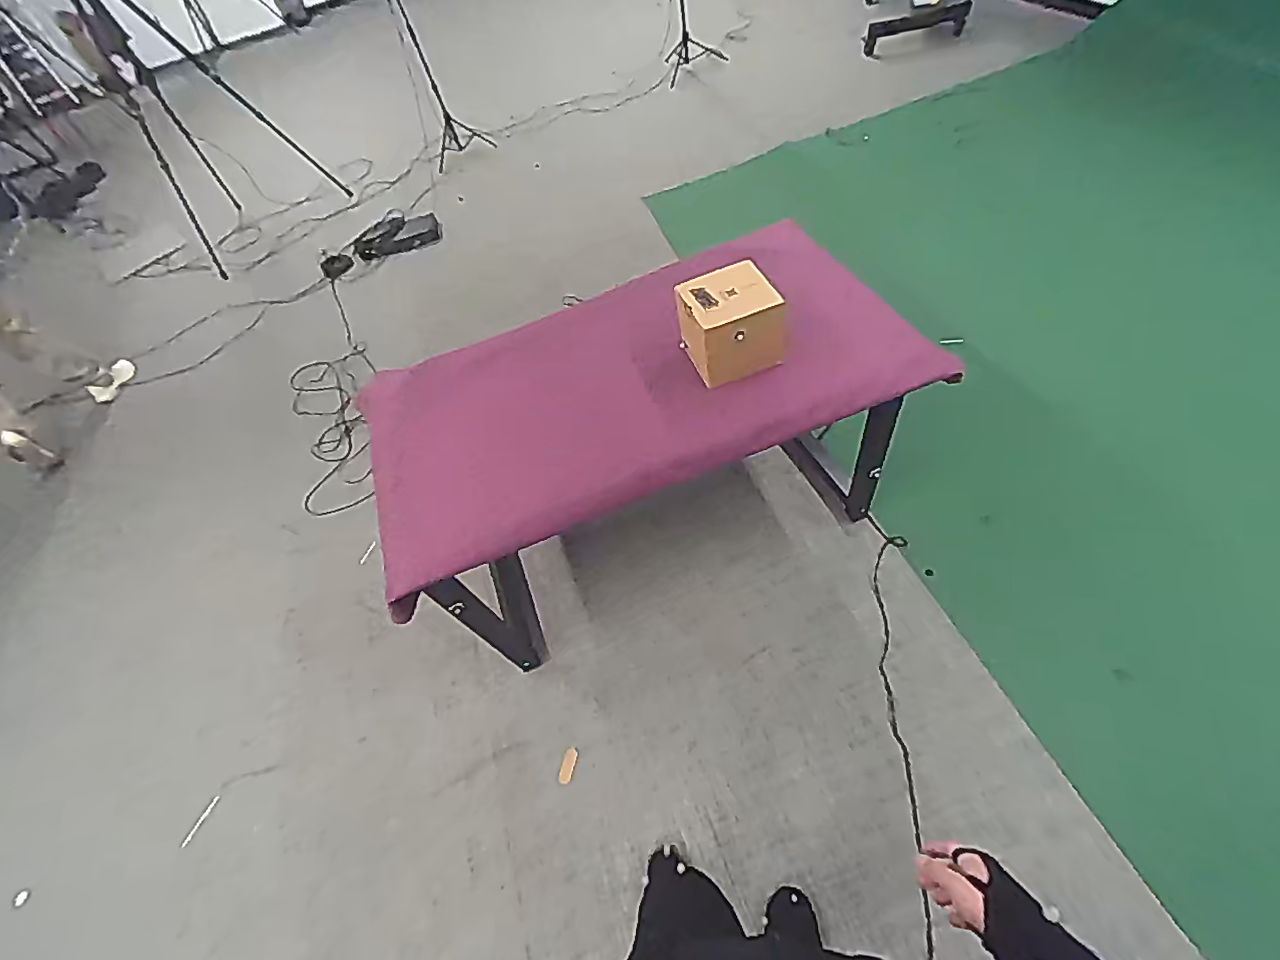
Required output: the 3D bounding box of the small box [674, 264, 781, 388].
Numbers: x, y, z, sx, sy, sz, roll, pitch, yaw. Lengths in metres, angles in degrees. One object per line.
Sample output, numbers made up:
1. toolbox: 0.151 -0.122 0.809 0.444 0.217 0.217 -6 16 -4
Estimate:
1. small box: 0.191 -0.327 1.171 0.179 0.176 0.168 -20 54 -3
